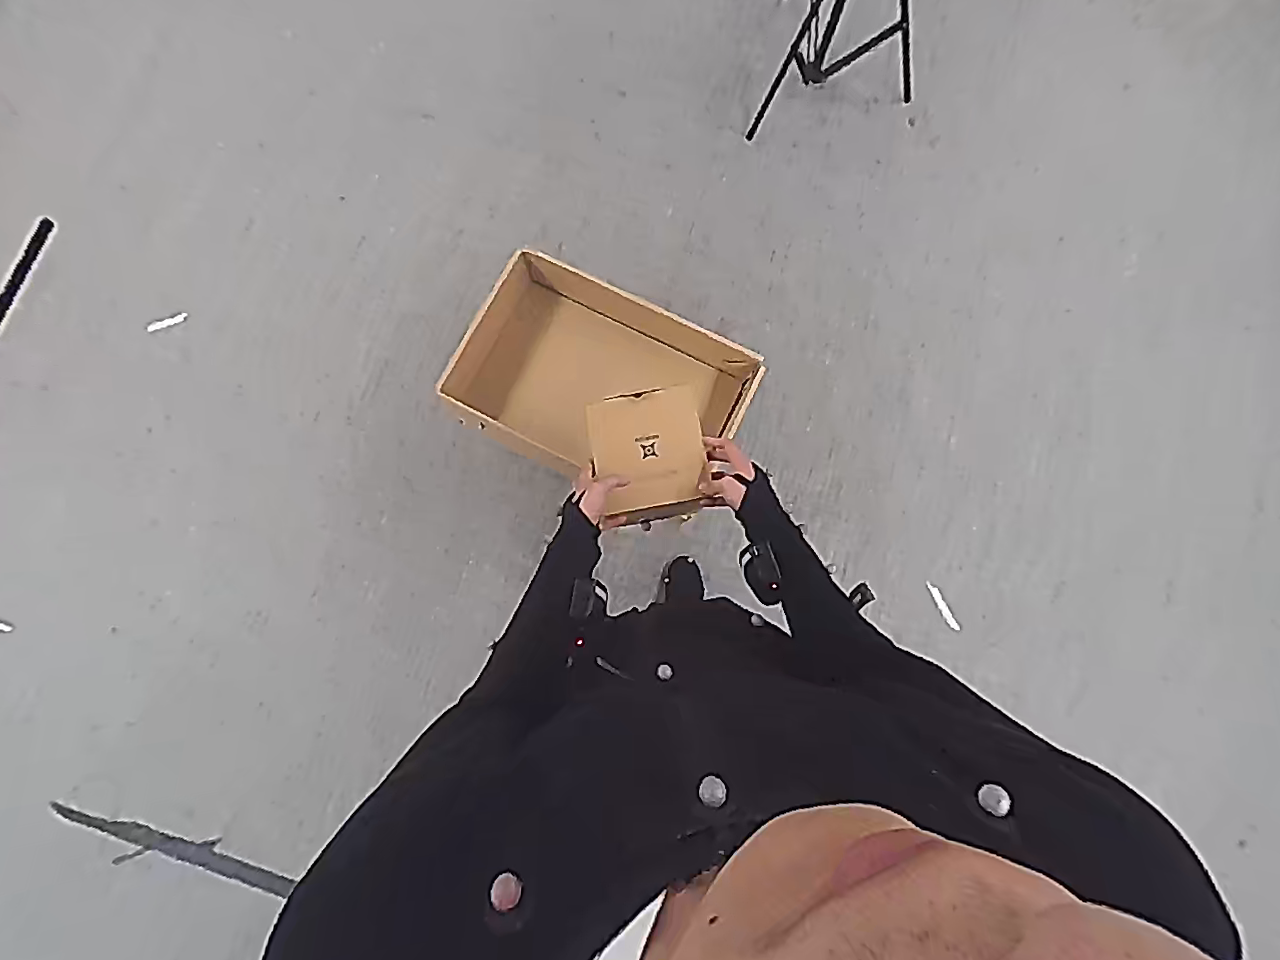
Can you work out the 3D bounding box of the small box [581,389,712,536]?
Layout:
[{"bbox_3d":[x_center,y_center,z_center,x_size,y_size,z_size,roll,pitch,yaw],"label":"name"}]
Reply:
[{"bbox_3d":[0.006,-0.021,0.855,0.168,0.176,0.179,-11,77,-3],"label":"small box"}]
